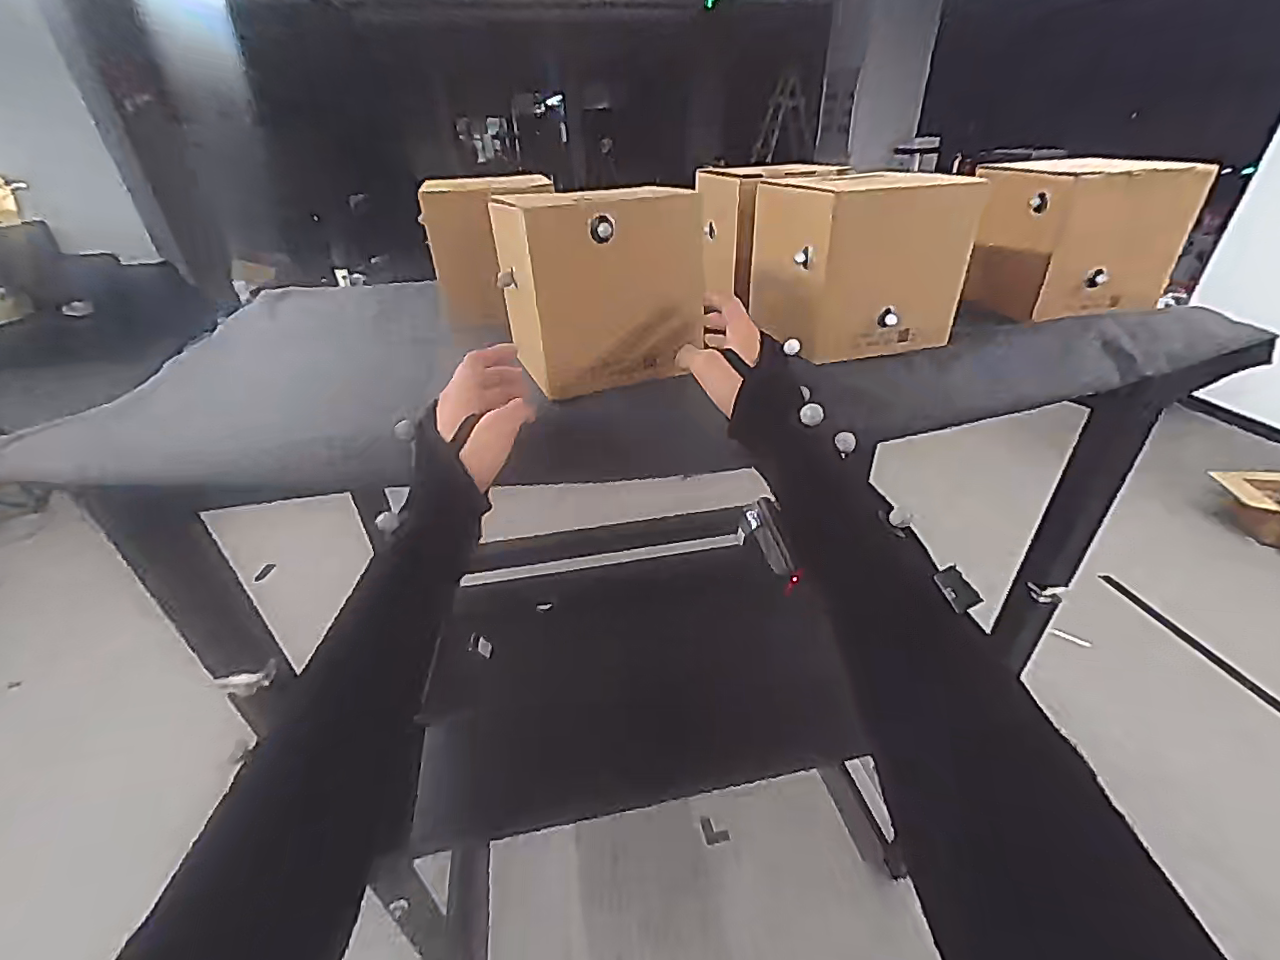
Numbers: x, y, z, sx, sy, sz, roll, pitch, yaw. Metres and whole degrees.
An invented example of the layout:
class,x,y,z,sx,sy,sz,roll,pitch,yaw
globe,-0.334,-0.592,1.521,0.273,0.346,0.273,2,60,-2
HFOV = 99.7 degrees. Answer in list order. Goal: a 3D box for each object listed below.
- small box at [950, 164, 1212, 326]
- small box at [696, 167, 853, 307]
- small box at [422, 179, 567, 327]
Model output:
class,x,y,z,sx,sy,sz,roll,pitch,yaw
small box,0.540,-0.306,0.699,0.168,0.176,0.179,-6,33,-4
small box,0.187,-0.361,0.805,0.168,0.176,0.179,-9,33,-11
small box,-0.203,-0.330,0.778,0.168,0.176,0.179,-10,34,-11
